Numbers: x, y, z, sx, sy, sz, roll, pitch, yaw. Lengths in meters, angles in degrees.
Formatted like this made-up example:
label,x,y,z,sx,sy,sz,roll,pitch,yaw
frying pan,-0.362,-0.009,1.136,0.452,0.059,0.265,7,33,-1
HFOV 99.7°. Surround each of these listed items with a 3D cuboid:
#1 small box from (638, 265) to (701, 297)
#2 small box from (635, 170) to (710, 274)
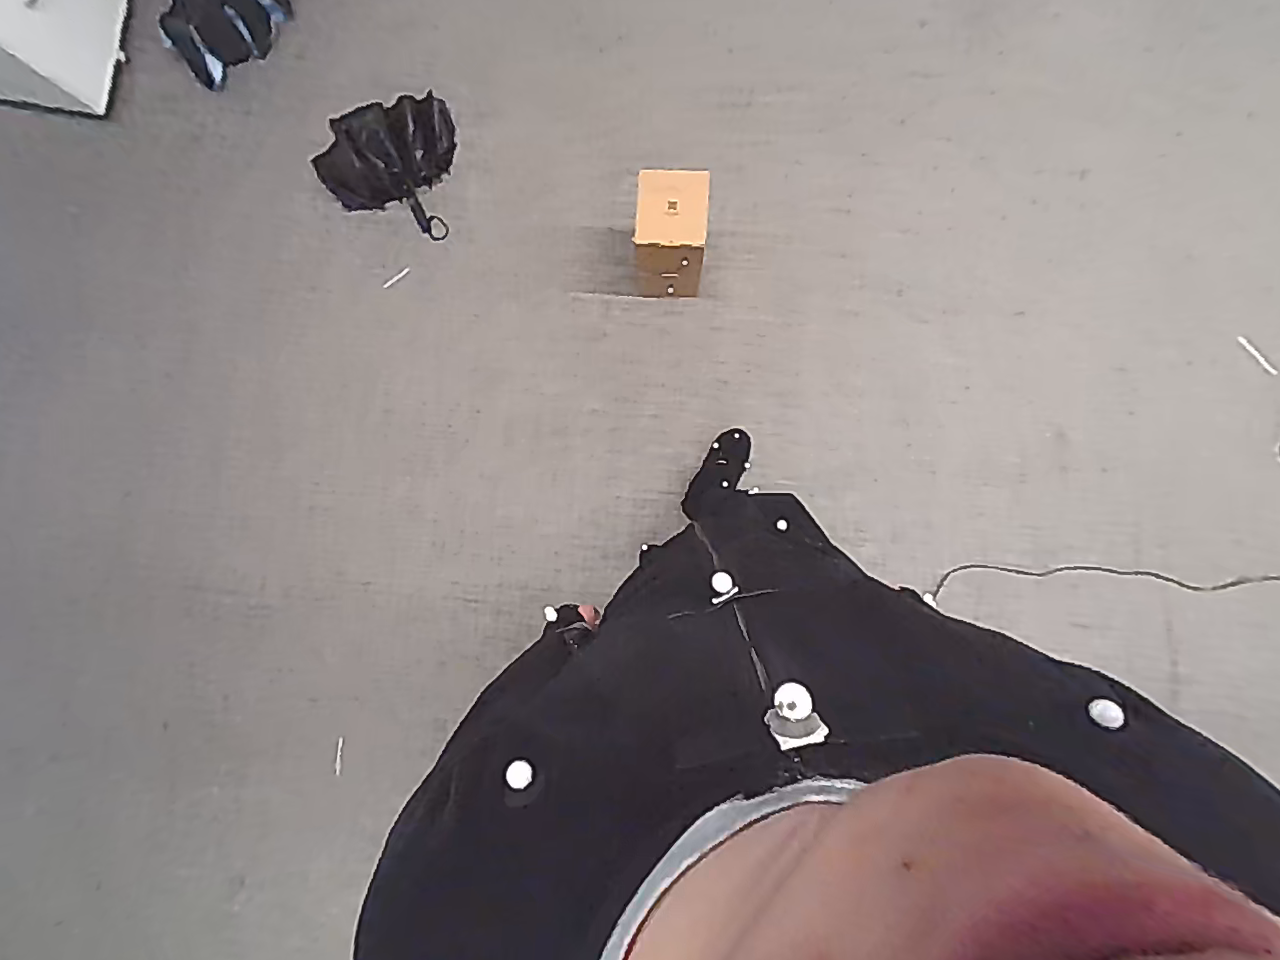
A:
label,x,y,z,sx,sy,sz,roll,pitch,yaw
small box,0.086,-0.612,1.473,0.168,0.176,0.179,2,89,3
small box,0.078,-0.617,1.311,0.168,0.176,0.179,3,87,2
